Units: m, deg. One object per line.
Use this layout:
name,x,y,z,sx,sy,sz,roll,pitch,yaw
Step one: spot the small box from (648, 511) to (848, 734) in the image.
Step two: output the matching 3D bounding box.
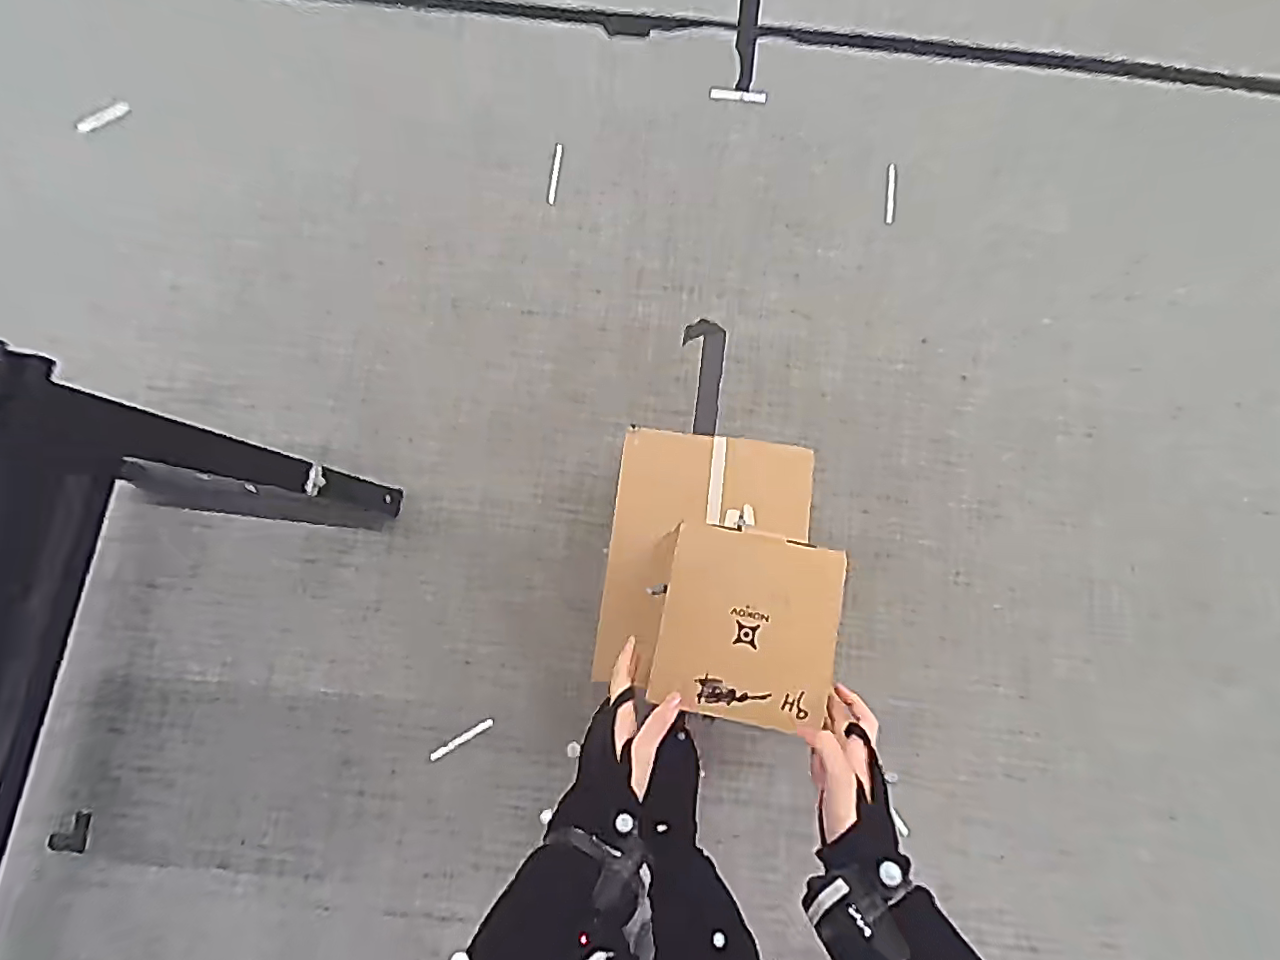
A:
small box,0.103,0.145,0.585,0.168,0.176,0.179,12,80,3

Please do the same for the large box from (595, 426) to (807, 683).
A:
large box,0.100,0.148,0.998,0.320,0.320,0.408,7,80,-1
